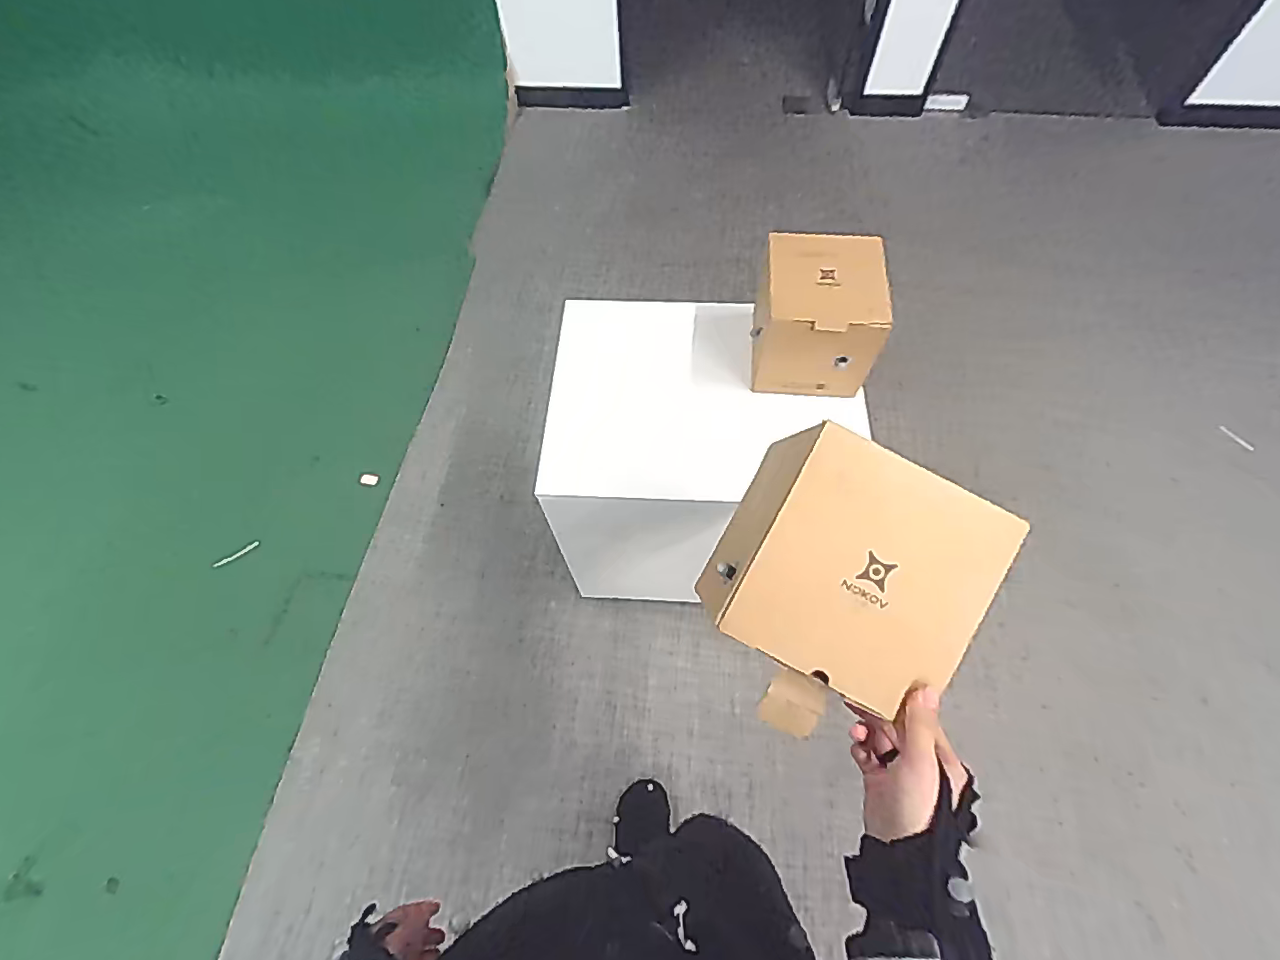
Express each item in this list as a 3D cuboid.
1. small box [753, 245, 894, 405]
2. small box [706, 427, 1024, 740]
[{"bbox_3d":[0.271,-0.233,0.835,0.168,0.176,0.179,4,62,4],"label":"small box"},{"bbox_3d":[0.168,0.075,0.469,0.168,0.176,0.179,28,89,2],"label":"small box"}]
